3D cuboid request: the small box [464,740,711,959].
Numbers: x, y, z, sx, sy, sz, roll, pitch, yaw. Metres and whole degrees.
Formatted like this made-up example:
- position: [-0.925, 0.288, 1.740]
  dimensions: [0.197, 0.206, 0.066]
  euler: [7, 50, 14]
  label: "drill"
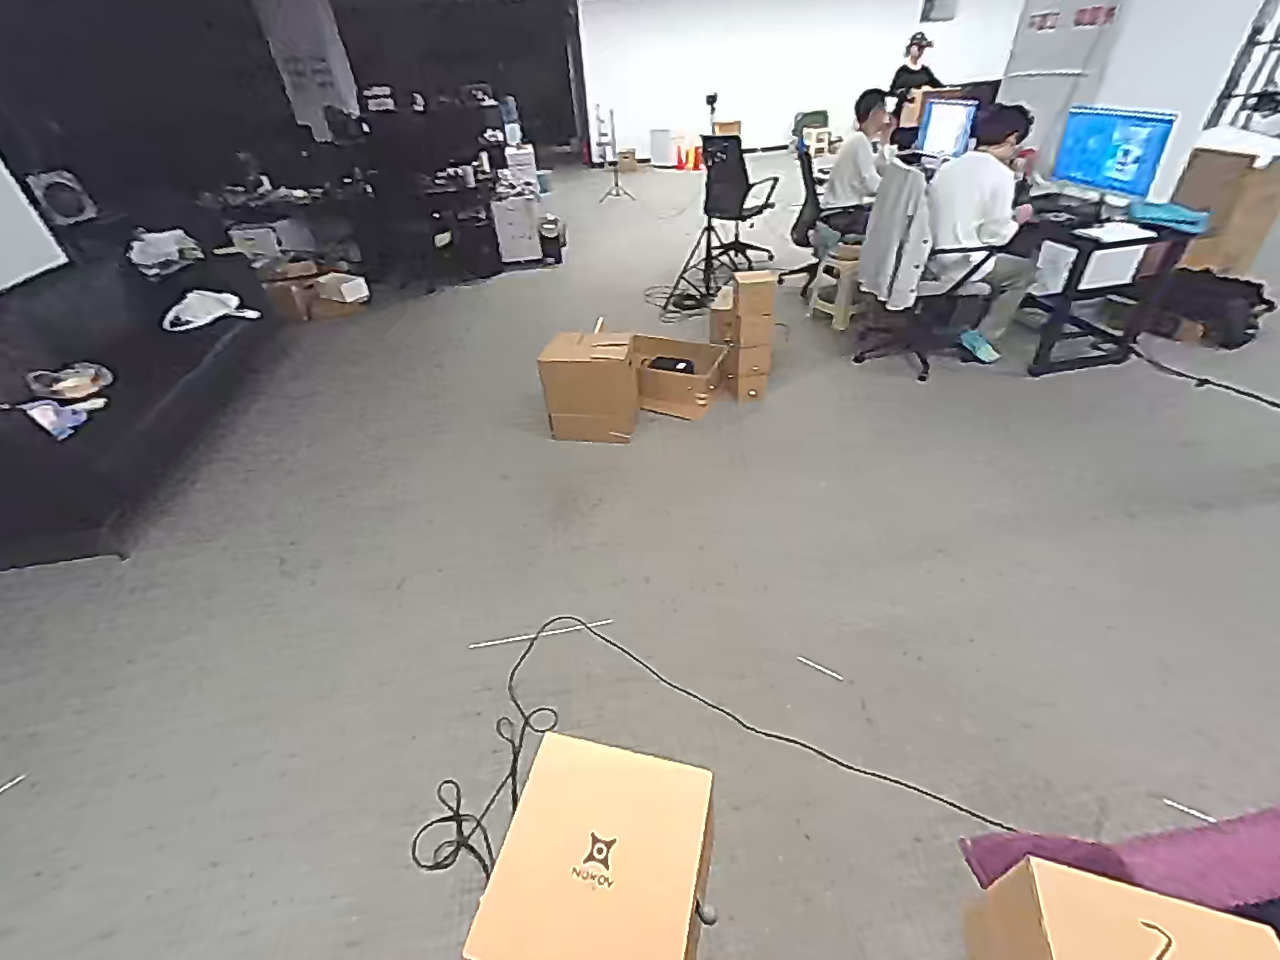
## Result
- position: [-0.030, 0.379, 0.502]
  dimensions: [0.168, 0.176, 0.179]
  euler: [6, 45, 15]
  label: "small box"
